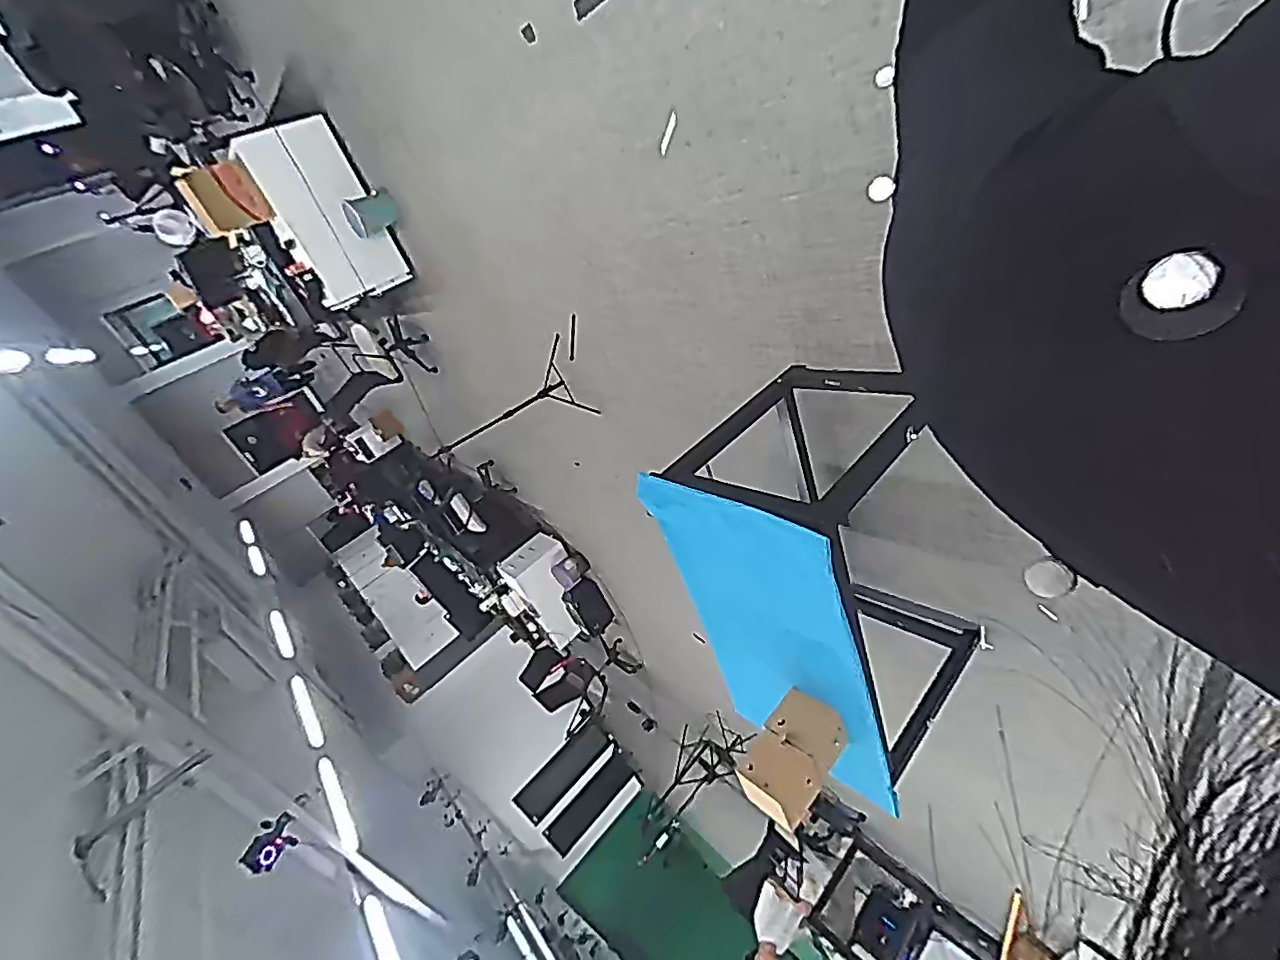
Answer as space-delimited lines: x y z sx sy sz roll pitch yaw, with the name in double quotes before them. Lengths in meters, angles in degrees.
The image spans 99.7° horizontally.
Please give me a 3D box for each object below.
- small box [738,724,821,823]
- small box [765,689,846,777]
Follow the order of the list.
"small box" 0.423 0.898 1.652 0.168 0.176 0.179 17 138 49
"small box" 0.533 0.805 1.736 0.179 0.176 0.168 16 139 46
